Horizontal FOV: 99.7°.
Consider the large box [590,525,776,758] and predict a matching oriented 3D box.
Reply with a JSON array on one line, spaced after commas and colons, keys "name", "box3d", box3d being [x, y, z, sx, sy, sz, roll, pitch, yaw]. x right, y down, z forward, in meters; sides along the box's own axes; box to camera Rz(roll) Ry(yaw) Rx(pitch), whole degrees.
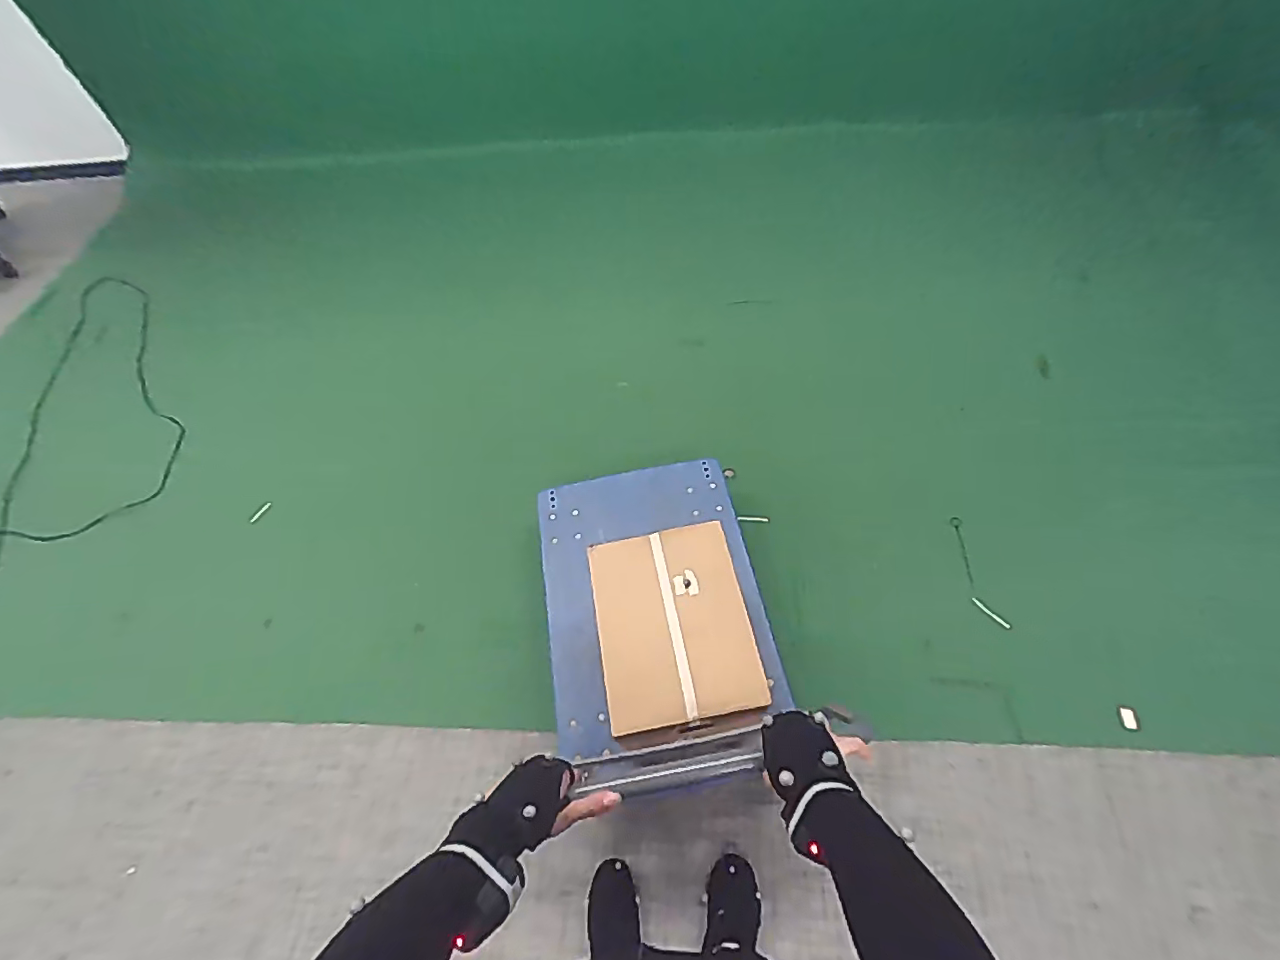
[{"name": "large box", "box3d": [0.088, 0.373, 1.238, 0.320, 0.320, 0.408, -11, 56, -2]}]
